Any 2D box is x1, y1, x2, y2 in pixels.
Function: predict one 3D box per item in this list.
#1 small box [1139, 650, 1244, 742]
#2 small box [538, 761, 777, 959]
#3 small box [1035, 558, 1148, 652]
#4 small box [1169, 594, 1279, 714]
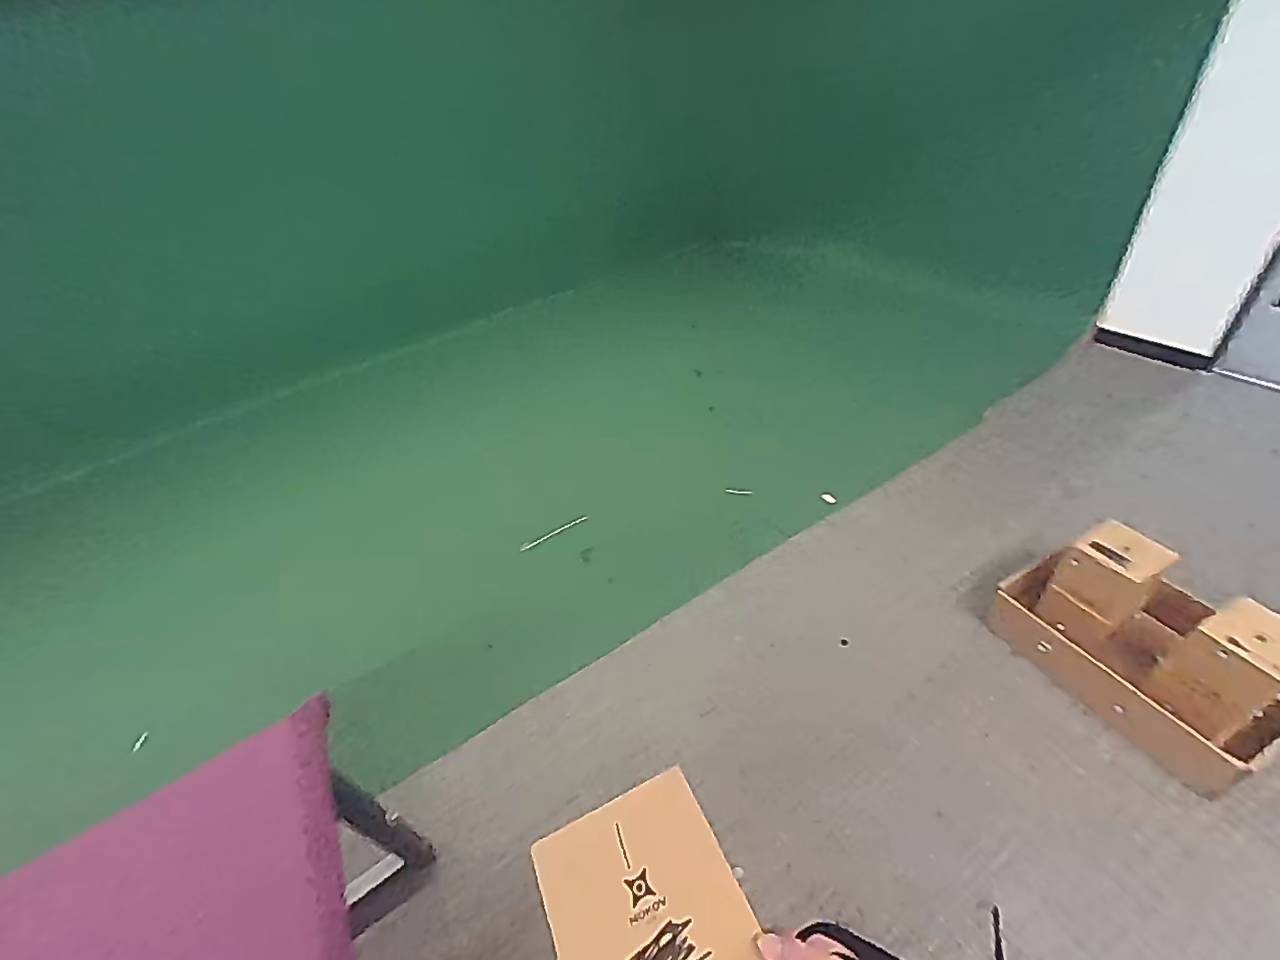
[{"bbox_3d":[1.437,0.525,1.376,0.179,0.176,0.168,-24,41,-14],"label":"small box"},{"bbox_3d":[0.018,0.425,0.531,0.168,0.176,0.179,-21,41,-13],"label":"small box"},{"bbox_3d":[1.312,0.367,1.586,0.179,0.176,0.168,-24,42,-15],"label":"small box"},{"bbox_3d":[1.412,0.407,1.265,0.179,0.176,0.168,-22,41,-14],"label":"small box"}]
